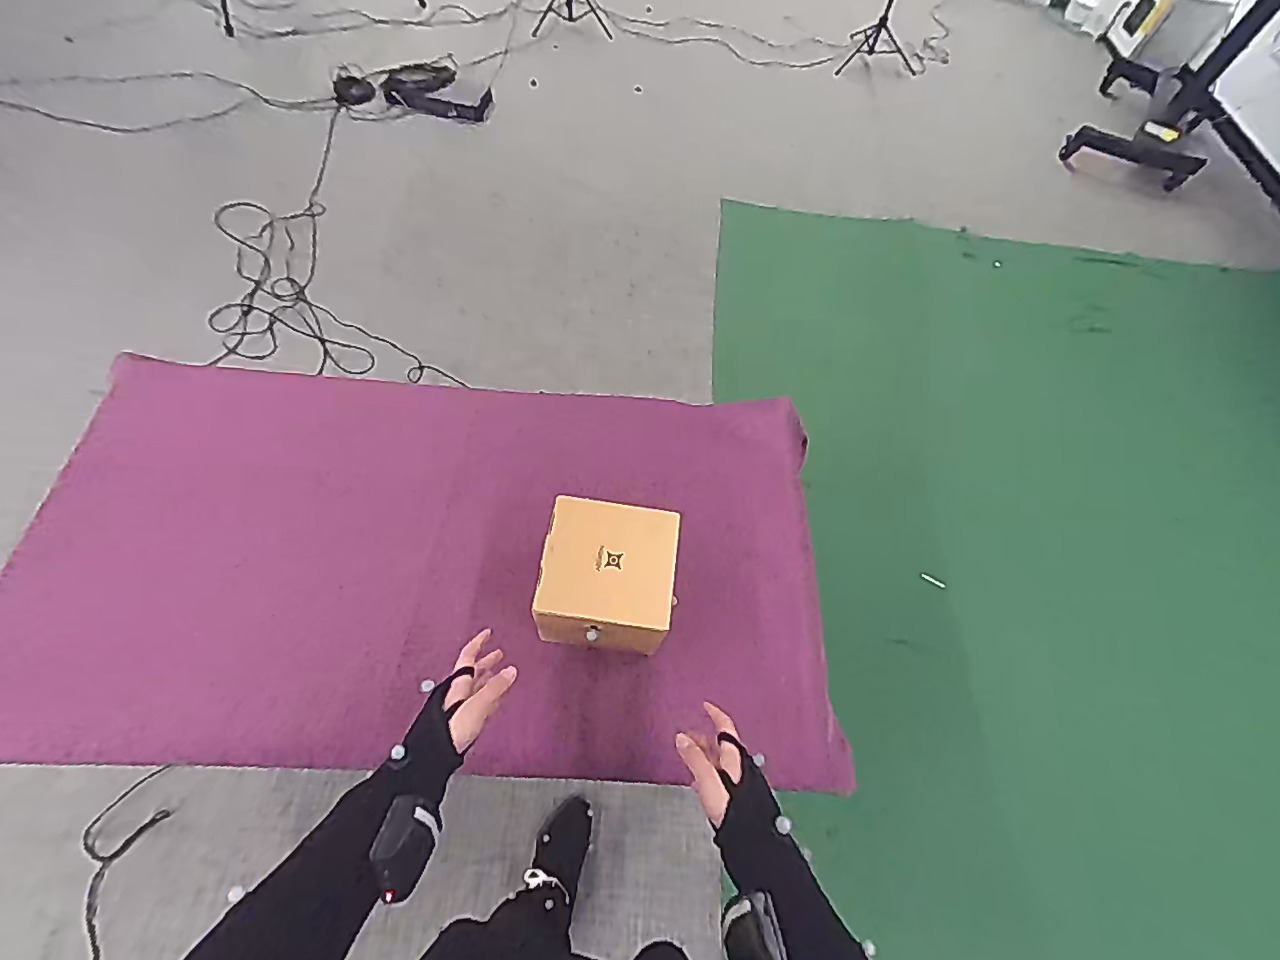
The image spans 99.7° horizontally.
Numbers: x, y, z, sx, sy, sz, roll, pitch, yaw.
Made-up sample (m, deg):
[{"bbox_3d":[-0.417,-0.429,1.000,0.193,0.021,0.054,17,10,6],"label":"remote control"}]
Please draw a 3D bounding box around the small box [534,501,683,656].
[{"bbox_3d":[-0.043,0.150,0.780,0.179,0.176,0.168,9,62,0],"label":"small box"}]
